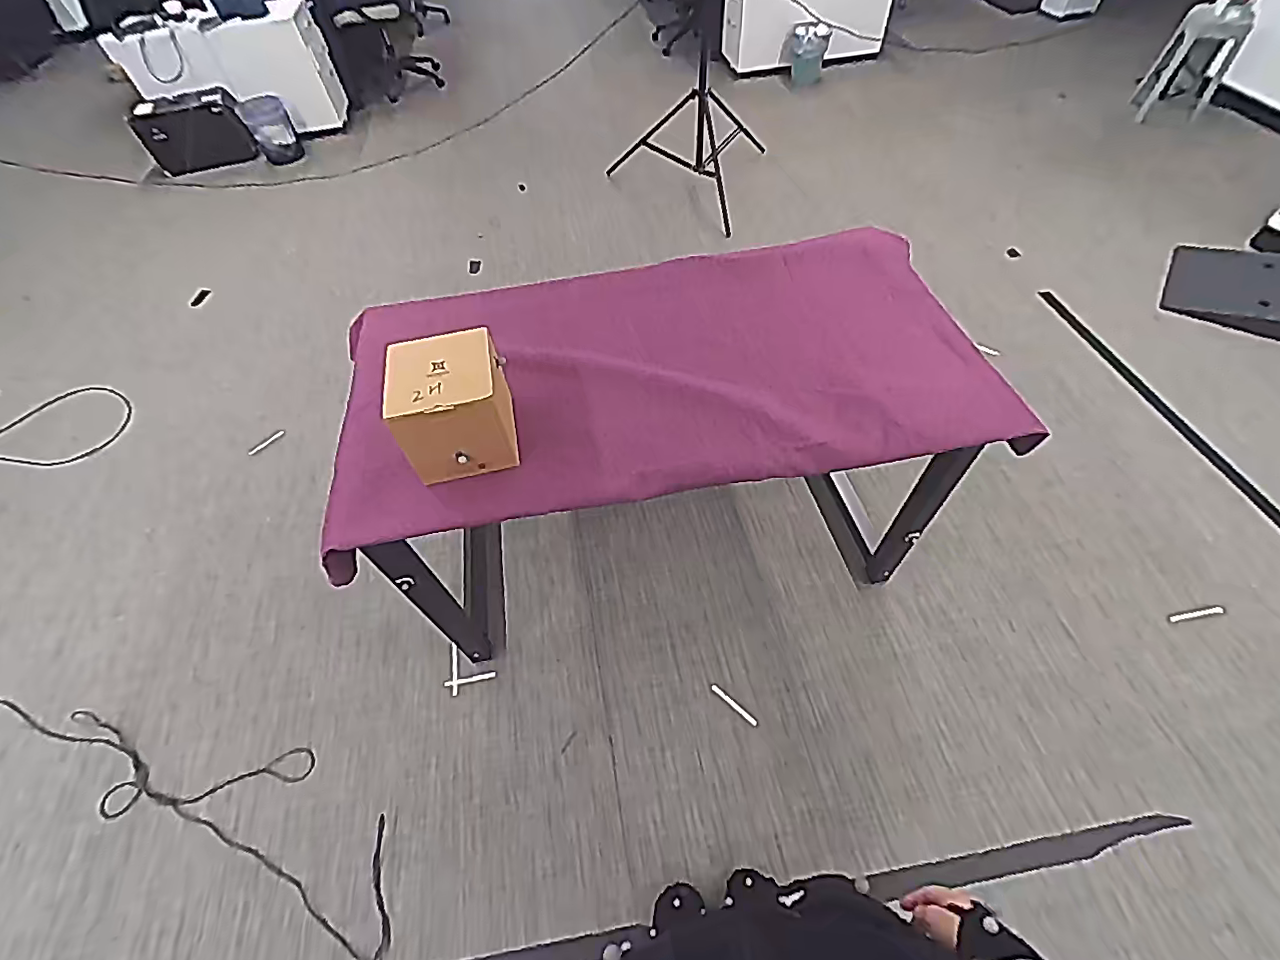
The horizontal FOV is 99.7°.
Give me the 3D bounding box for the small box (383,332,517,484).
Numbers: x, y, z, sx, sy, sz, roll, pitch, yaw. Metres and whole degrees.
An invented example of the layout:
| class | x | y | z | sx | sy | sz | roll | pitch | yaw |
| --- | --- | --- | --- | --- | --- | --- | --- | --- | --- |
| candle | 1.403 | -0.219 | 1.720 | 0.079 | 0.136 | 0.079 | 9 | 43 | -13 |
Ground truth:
| class | x | y | z | sx | sy | sz | roll | pitch | yaw |
| --- | --- | --- | --- | --- | --- | --- | --- | --- | --- |
| small box | -0.314 | -0.120 | 0.920 | 0.168 | 0.176 | 0.179 | -13 | 54 | -5 |
